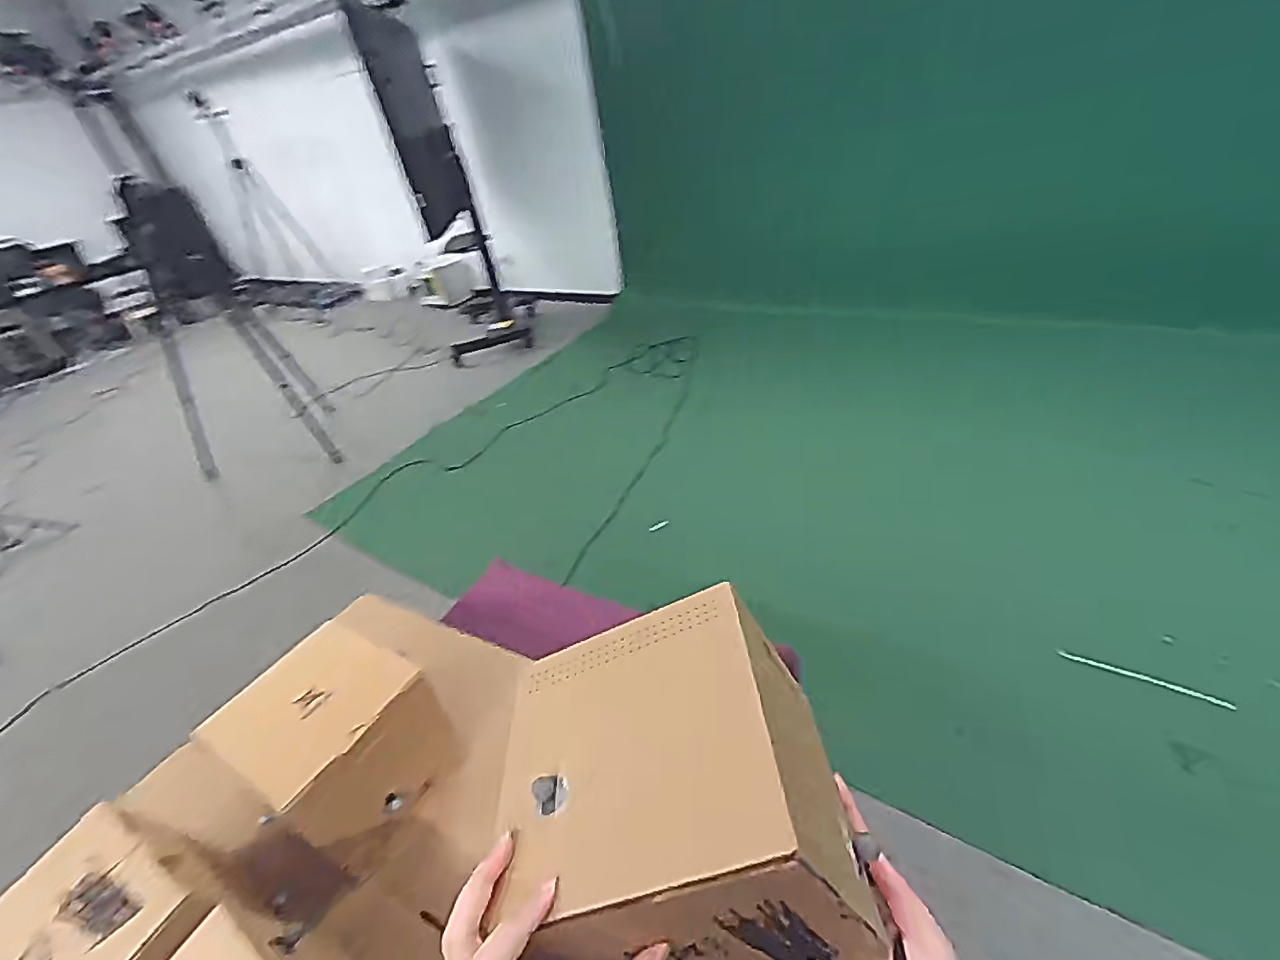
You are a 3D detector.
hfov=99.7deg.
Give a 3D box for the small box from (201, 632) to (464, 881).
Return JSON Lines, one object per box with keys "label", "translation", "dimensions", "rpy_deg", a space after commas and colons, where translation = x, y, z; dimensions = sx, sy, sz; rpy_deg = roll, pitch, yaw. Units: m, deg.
{"label": "small box", "translation": [-0.340, 0.315, 0.626], "dimensions": [0.179, 0.176, 0.168], "rpy_deg": [12, 40, 28]}
